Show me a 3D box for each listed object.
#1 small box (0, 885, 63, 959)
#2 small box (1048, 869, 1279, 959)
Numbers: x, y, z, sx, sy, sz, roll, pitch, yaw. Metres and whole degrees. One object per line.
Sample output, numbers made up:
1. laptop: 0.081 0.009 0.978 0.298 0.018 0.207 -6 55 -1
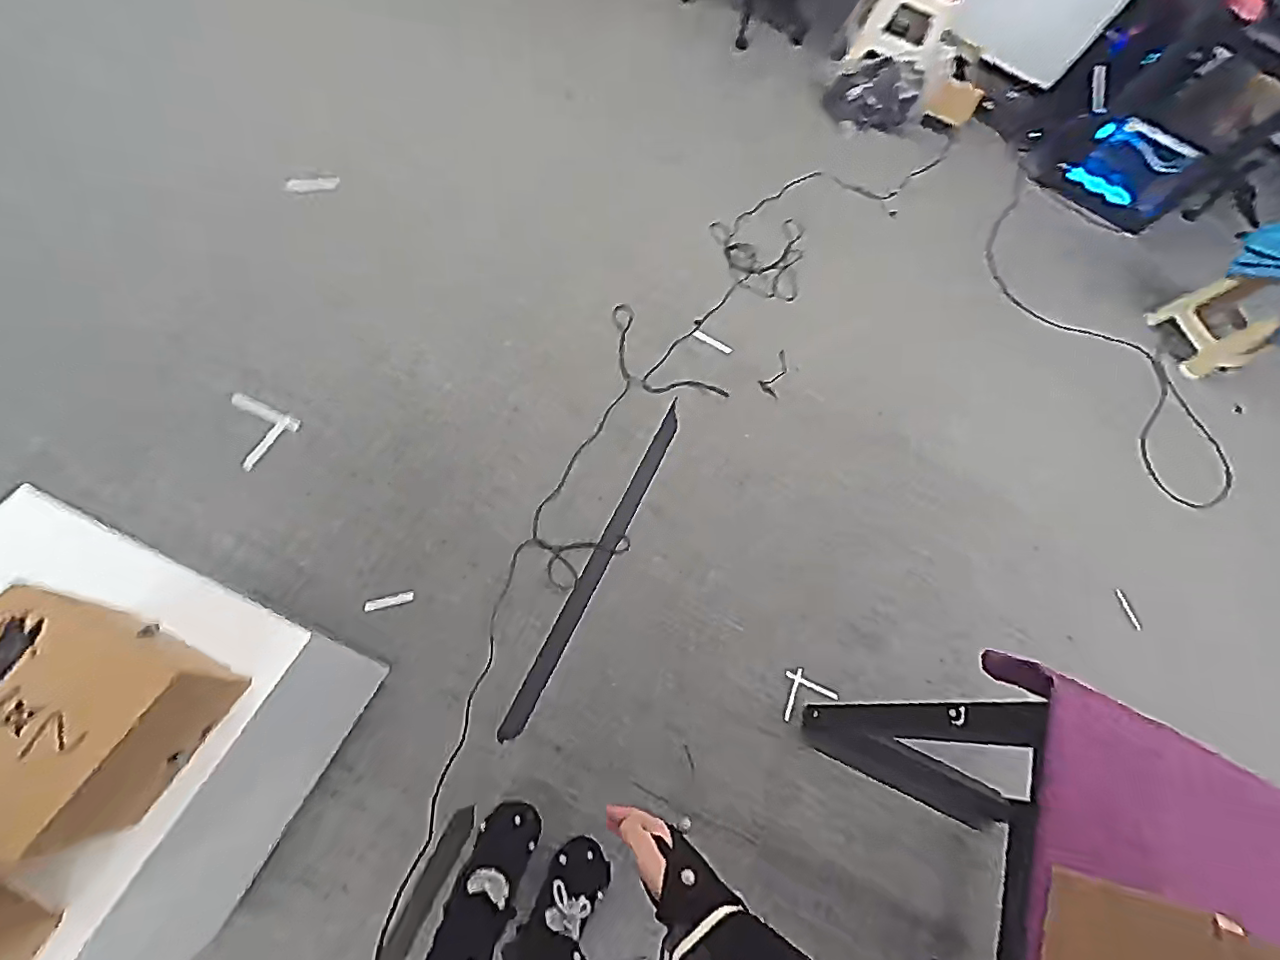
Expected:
1. small box: -0.645 0.423 0.419 0.179 0.176 0.168 27 64 0
2. small box: 0.535 0.525 0.522 0.168 0.176 0.179 31 63 0
